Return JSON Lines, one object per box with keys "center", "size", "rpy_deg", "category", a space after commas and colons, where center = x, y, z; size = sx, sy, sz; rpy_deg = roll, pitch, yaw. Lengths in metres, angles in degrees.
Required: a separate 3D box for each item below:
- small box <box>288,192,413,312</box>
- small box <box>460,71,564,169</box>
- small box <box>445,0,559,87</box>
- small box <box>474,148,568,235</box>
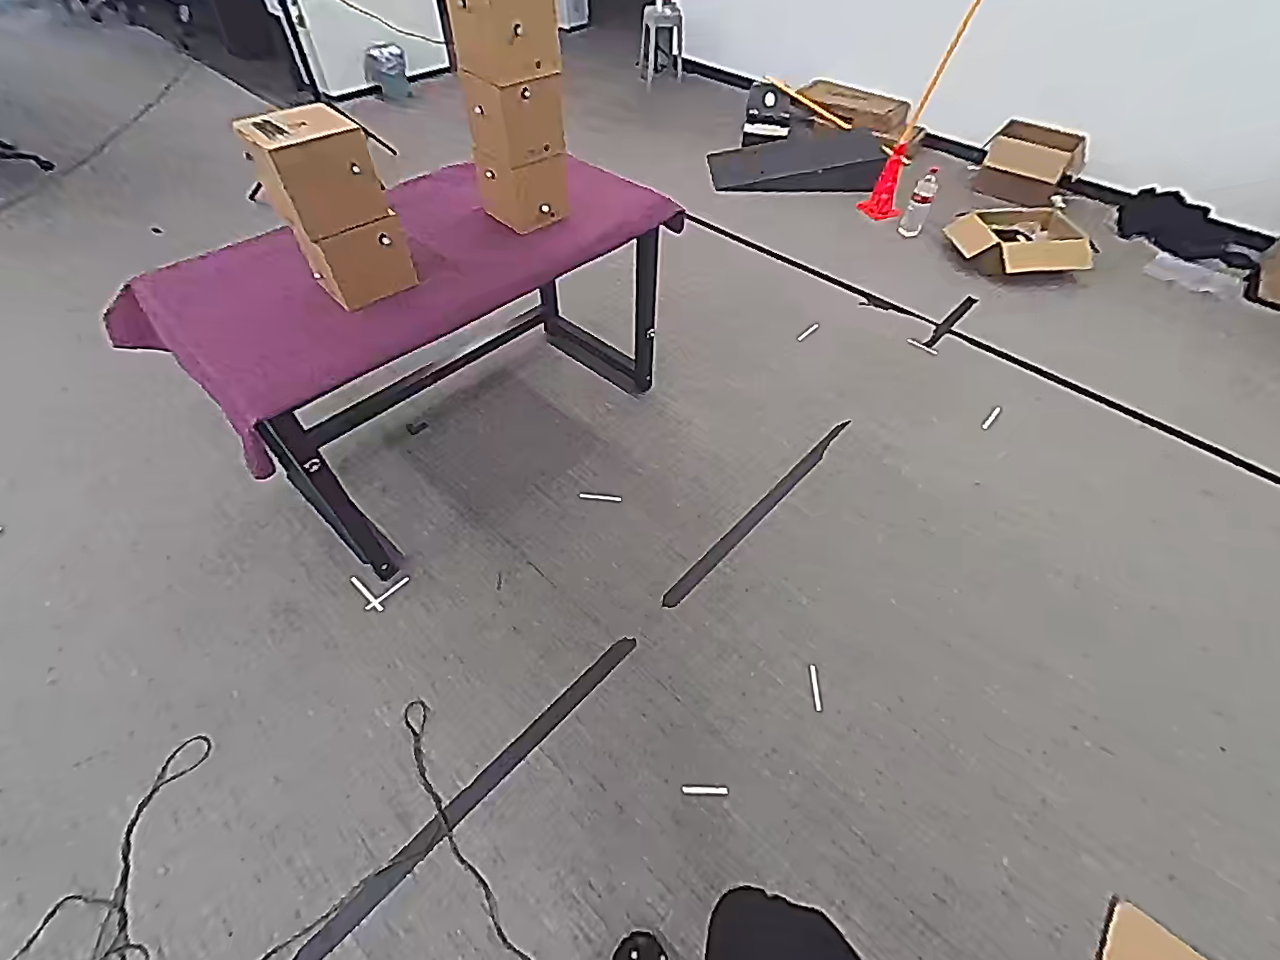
{"center": [-0.633, -0.509, 1.210], "size": [0.179, 0.176, 0.168], "rpy_deg": [-37, 61, -26], "category": "small box"}
{"center": [-0.302, -0.878, 1.302], "size": [0.168, 0.176, 0.179], "rpy_deg": [-35, 60, -25], "category": "small box"}
{"center": [-0.294, -0.975, 1.170], "size": [0.168, 0.176, 0.179], "rpy_deg": [-36, 60, -25], "category": "small box"}
{"center": [-0.309, -0.780, 1.432], "size": [0.168, 0.176, 0.179], "rpy_deg": [-37, 62, -26], "category": "small box"}
